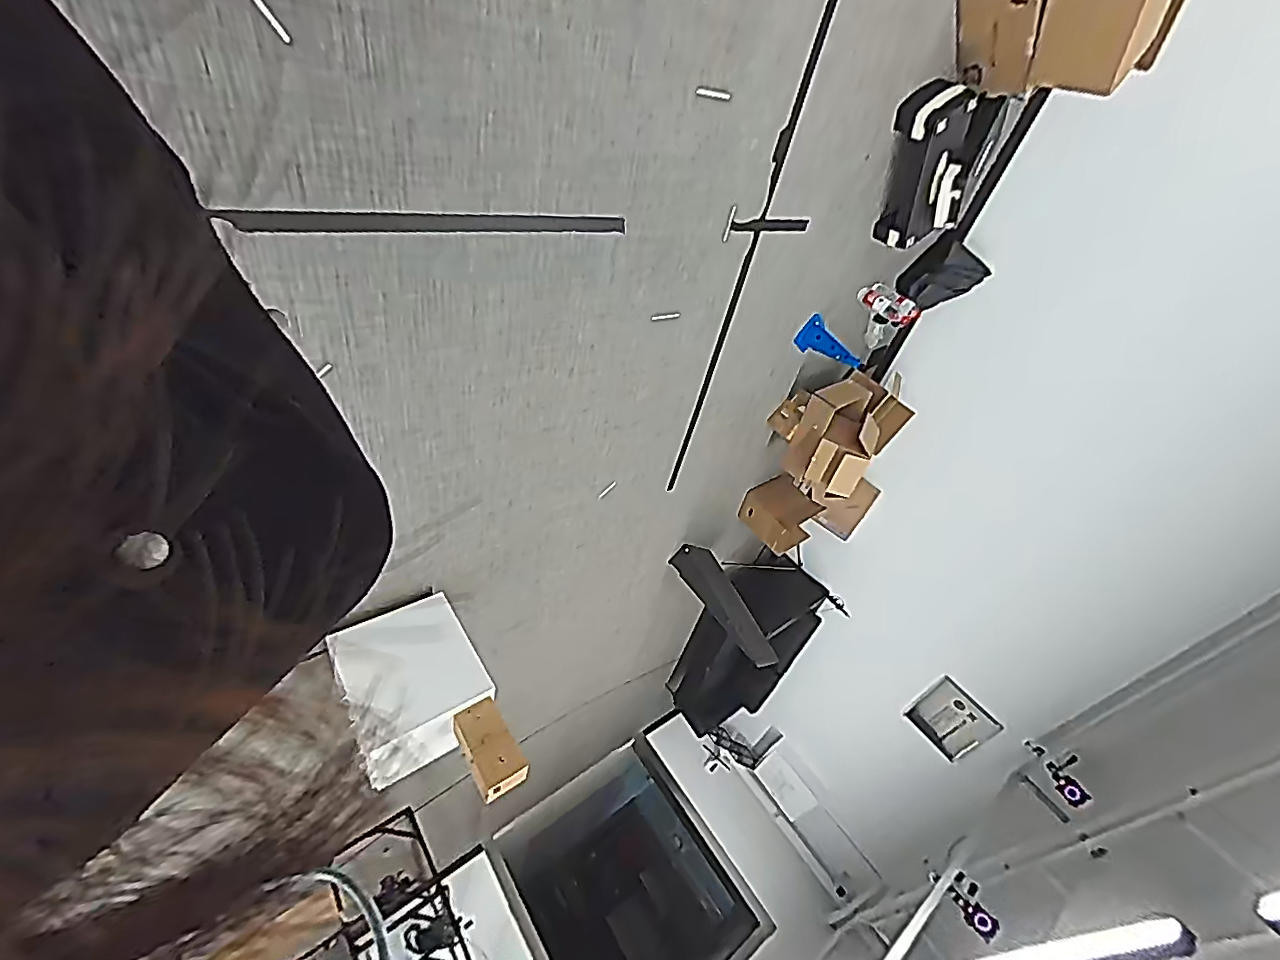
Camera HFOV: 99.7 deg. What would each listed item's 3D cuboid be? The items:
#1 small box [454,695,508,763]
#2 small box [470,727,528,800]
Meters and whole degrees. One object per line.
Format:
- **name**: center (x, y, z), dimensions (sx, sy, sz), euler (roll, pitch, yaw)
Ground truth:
- **small box**: center (-0.673, 1.043, 2.276), dimensions (0.168, 0.176, 0.179), euler (-19, 143, -34)
- **small box**: center (-0.576, 1.145, 2.190), dimensions (0.179, 0.176, 0.168), euler (-19, 143, -35)
